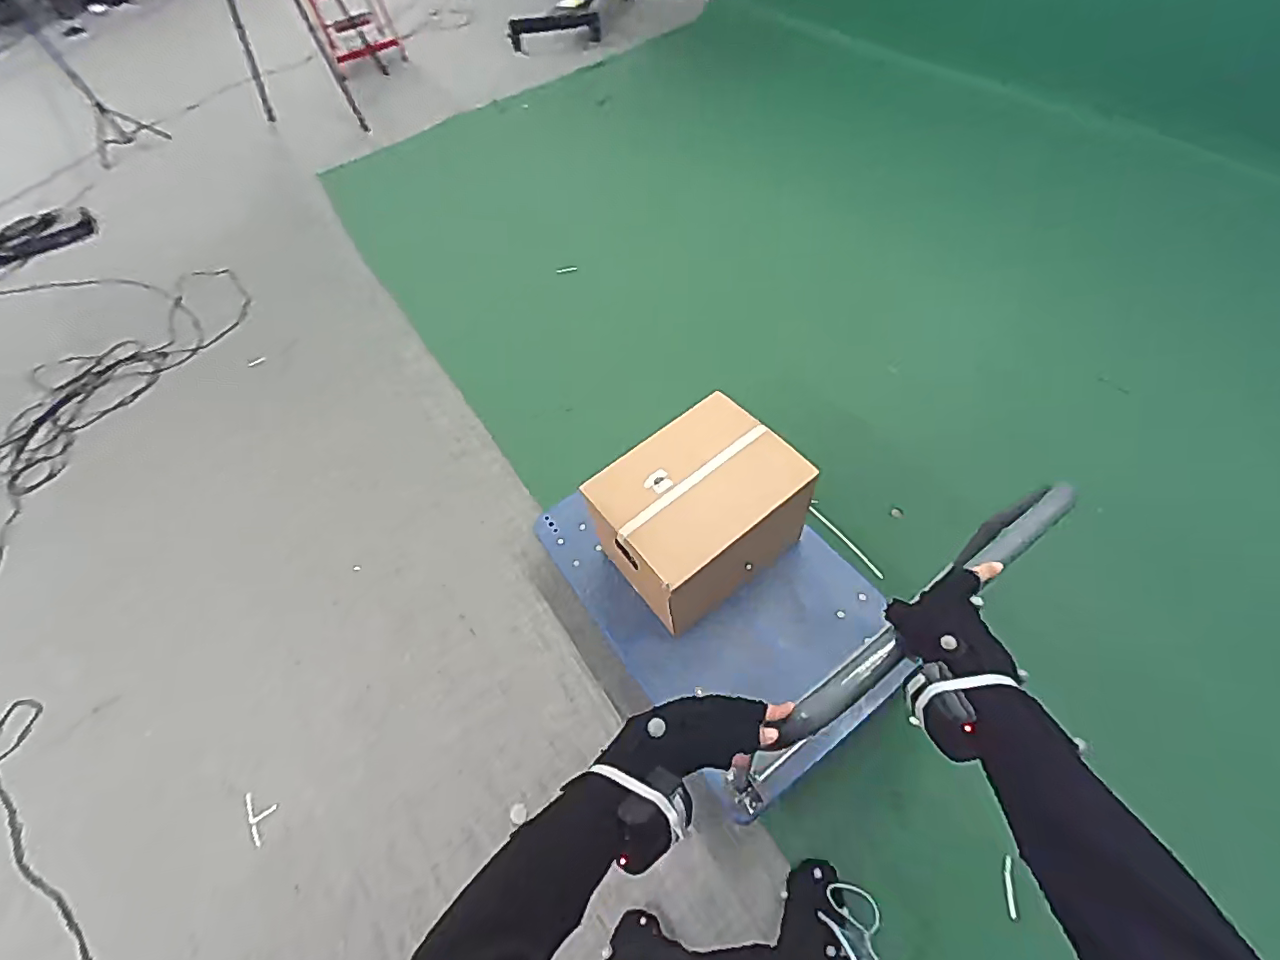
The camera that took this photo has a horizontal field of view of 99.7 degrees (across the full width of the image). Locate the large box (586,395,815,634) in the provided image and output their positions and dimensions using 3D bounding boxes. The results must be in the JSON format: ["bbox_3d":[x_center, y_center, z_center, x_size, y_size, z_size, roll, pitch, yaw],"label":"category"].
[{"bbox_3d":[0.142,0.084,1.272,0.408,0.320,0.320,-36,60,-15],"label":"large box"}]
